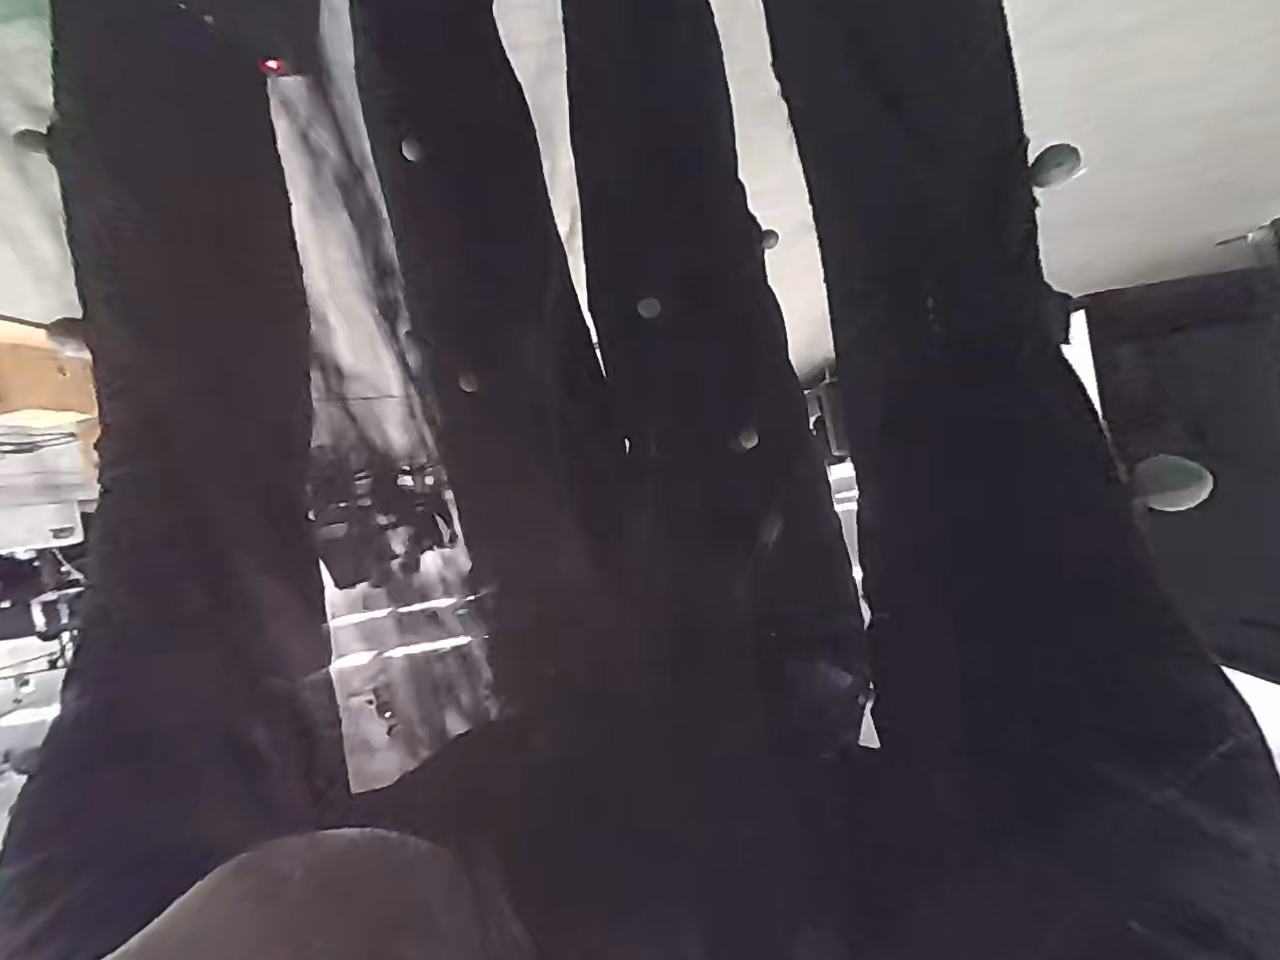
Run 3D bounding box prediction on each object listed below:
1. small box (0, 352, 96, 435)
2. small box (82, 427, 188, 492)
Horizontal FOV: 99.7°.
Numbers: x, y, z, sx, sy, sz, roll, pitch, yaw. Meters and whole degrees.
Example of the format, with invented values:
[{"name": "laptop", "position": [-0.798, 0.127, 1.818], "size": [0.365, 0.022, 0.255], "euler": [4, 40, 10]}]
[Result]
[{"name": "small box", "position": [-1.596, -0.221, 1.412], "size": [0.179, 0.176, 0.168], "euler": [-11, 180, 4]}, {"name": "small box", "position": [-1.549, -0.061, 1.659], "size": [0.179, 0.176, 0.168], "euler": [-10, -178, -1]}]
